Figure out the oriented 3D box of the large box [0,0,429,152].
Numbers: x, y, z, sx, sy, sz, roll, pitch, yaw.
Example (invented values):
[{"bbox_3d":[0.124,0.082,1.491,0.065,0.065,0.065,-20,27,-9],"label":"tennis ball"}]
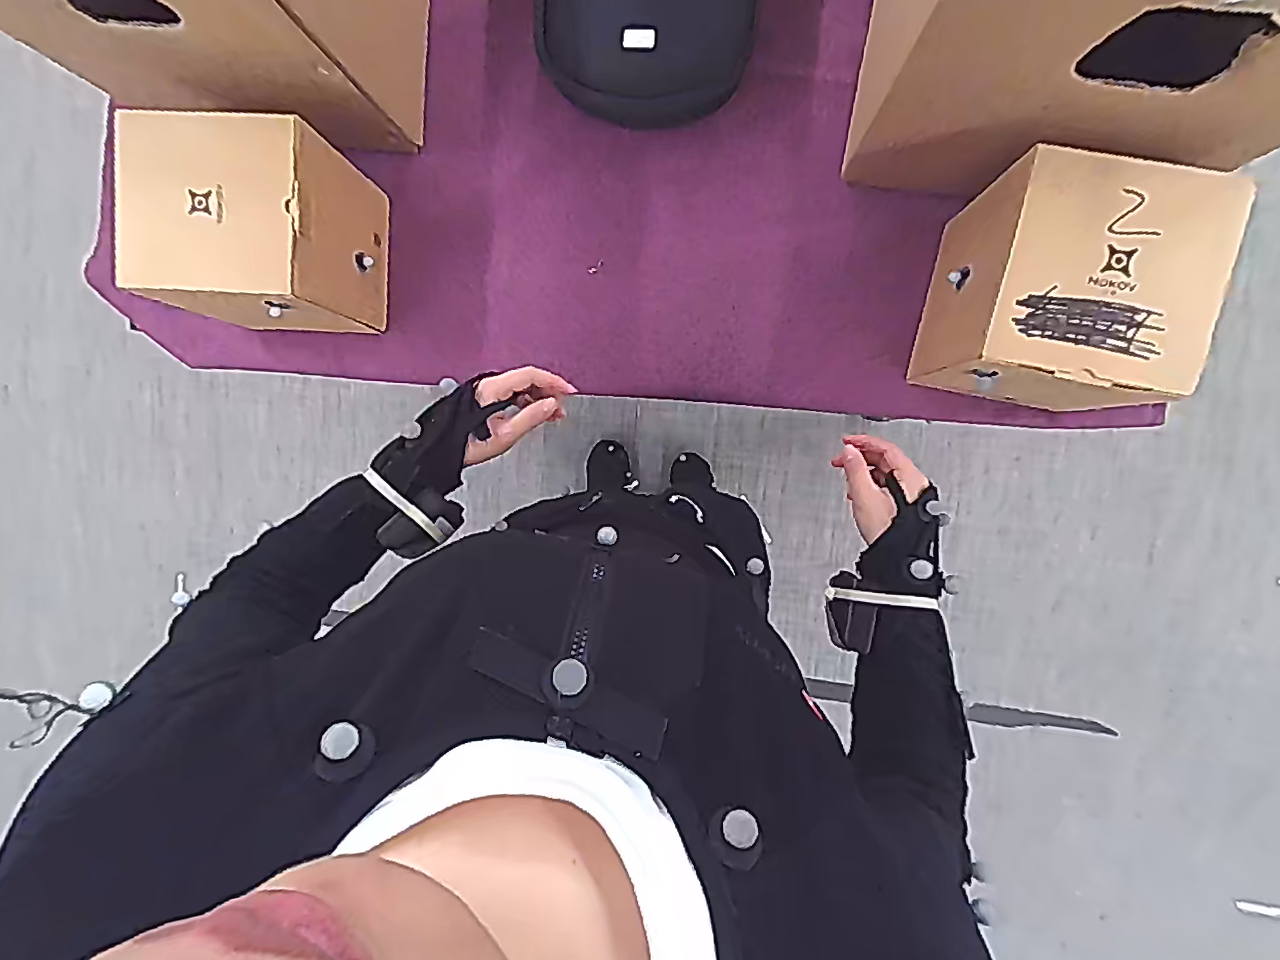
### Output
[{"bbox_3d":[-0.406,-0.592,0.499,0.320,0.320,0.408,5,97,4],"label":"large box"}]
